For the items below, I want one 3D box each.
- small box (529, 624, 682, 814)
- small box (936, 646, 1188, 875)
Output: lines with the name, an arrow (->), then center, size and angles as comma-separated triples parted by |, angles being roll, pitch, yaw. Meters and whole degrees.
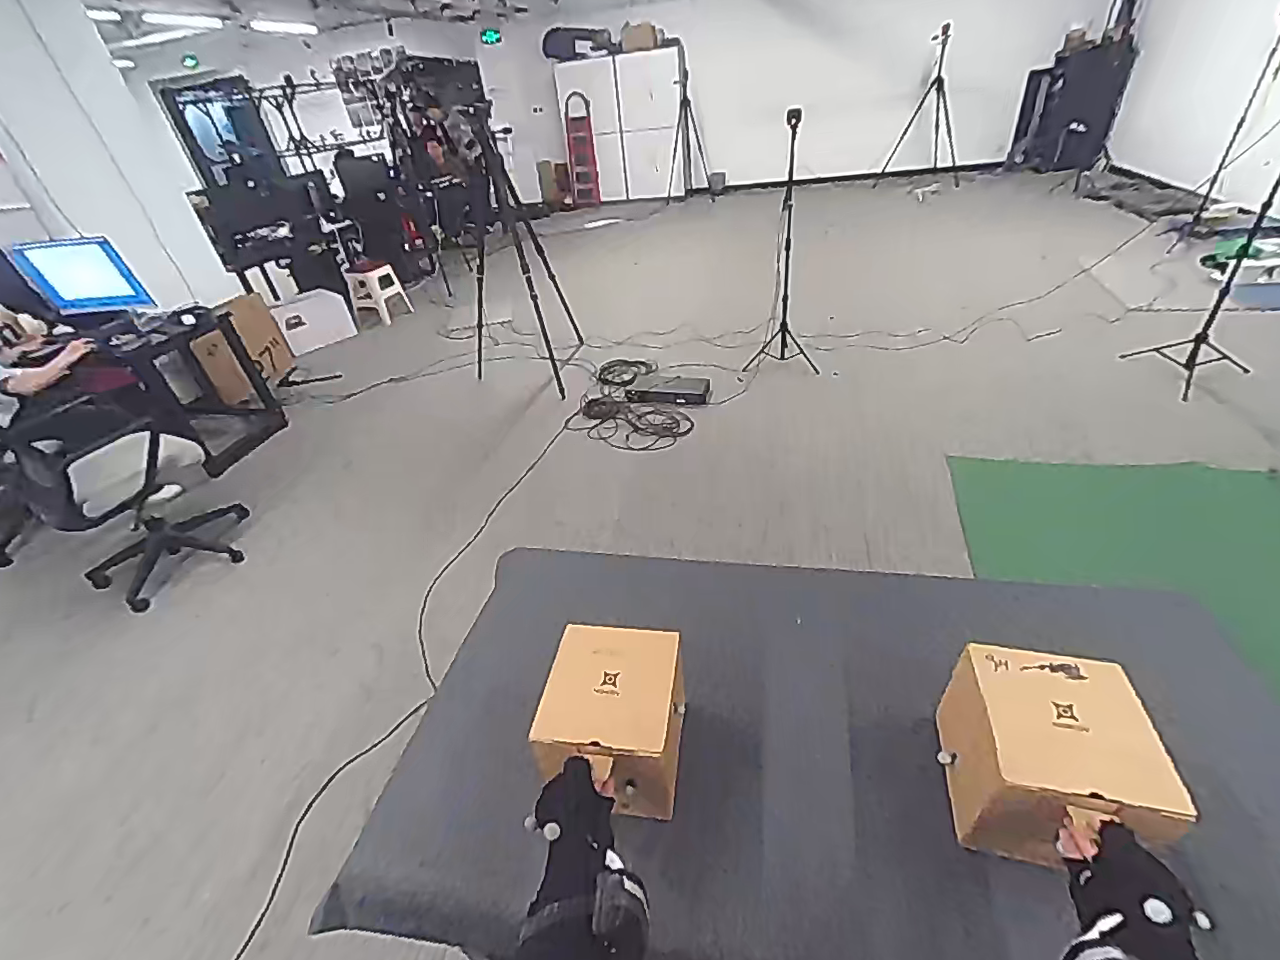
small box -> -0.033, 0.325, 0.741 | 0.168, 0.176, 0.179 | 2, 35, 10
small box -> 0.472, 0.331, 0.644 | 0.168, 0.176, 0.179 | 5, 38, 14
